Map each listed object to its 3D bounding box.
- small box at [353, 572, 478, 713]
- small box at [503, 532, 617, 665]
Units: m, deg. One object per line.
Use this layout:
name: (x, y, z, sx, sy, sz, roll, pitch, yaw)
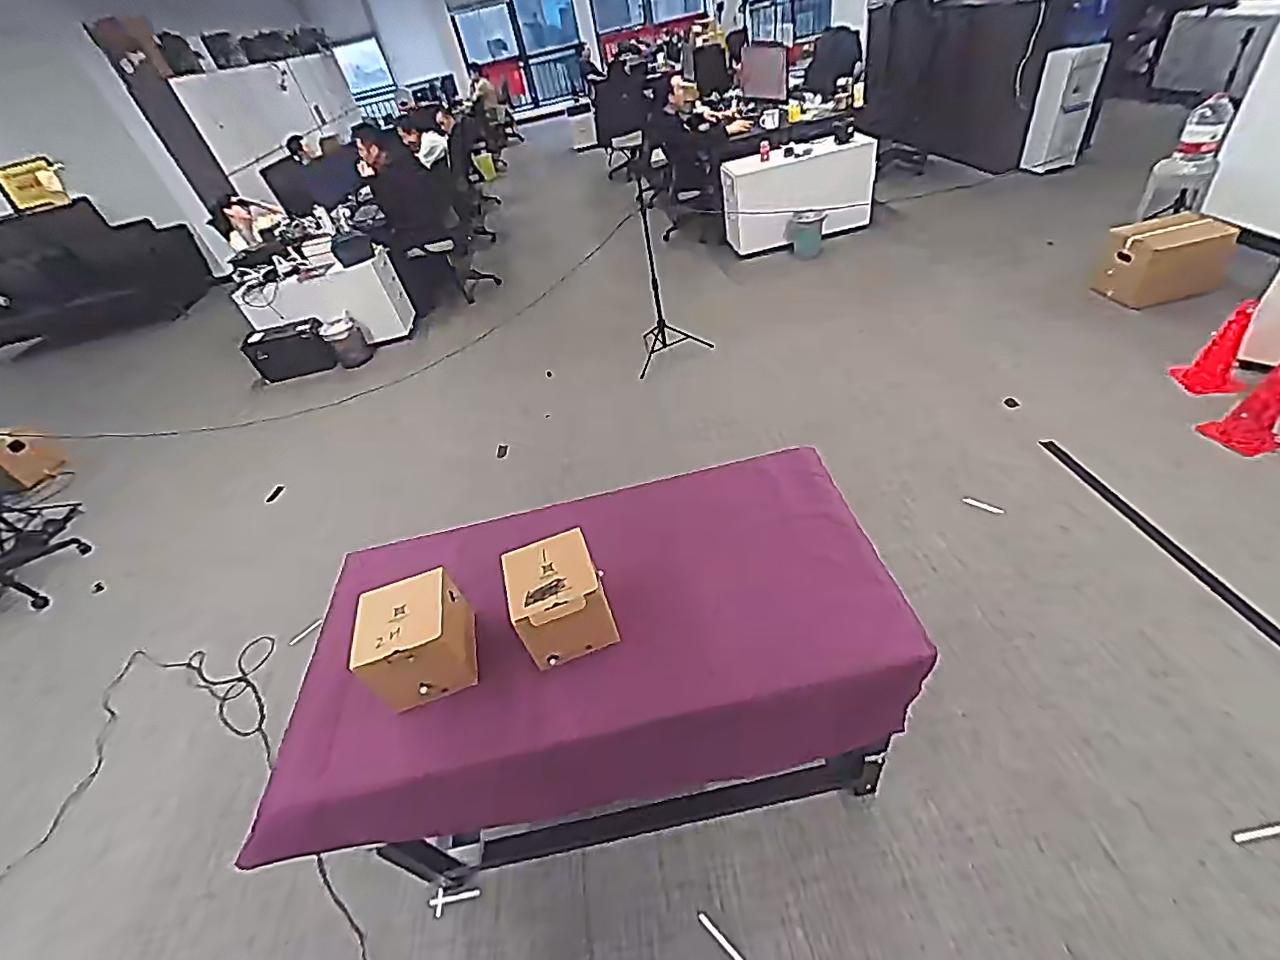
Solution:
small box: (-0.427, 0.317, 1.057, 0.168, 0.176, 0.179, -19, 41, -5)
small box: (-0.155, 0.240, 1.068, 0.168, 0.176, 0.179, -20, 40, -7)
